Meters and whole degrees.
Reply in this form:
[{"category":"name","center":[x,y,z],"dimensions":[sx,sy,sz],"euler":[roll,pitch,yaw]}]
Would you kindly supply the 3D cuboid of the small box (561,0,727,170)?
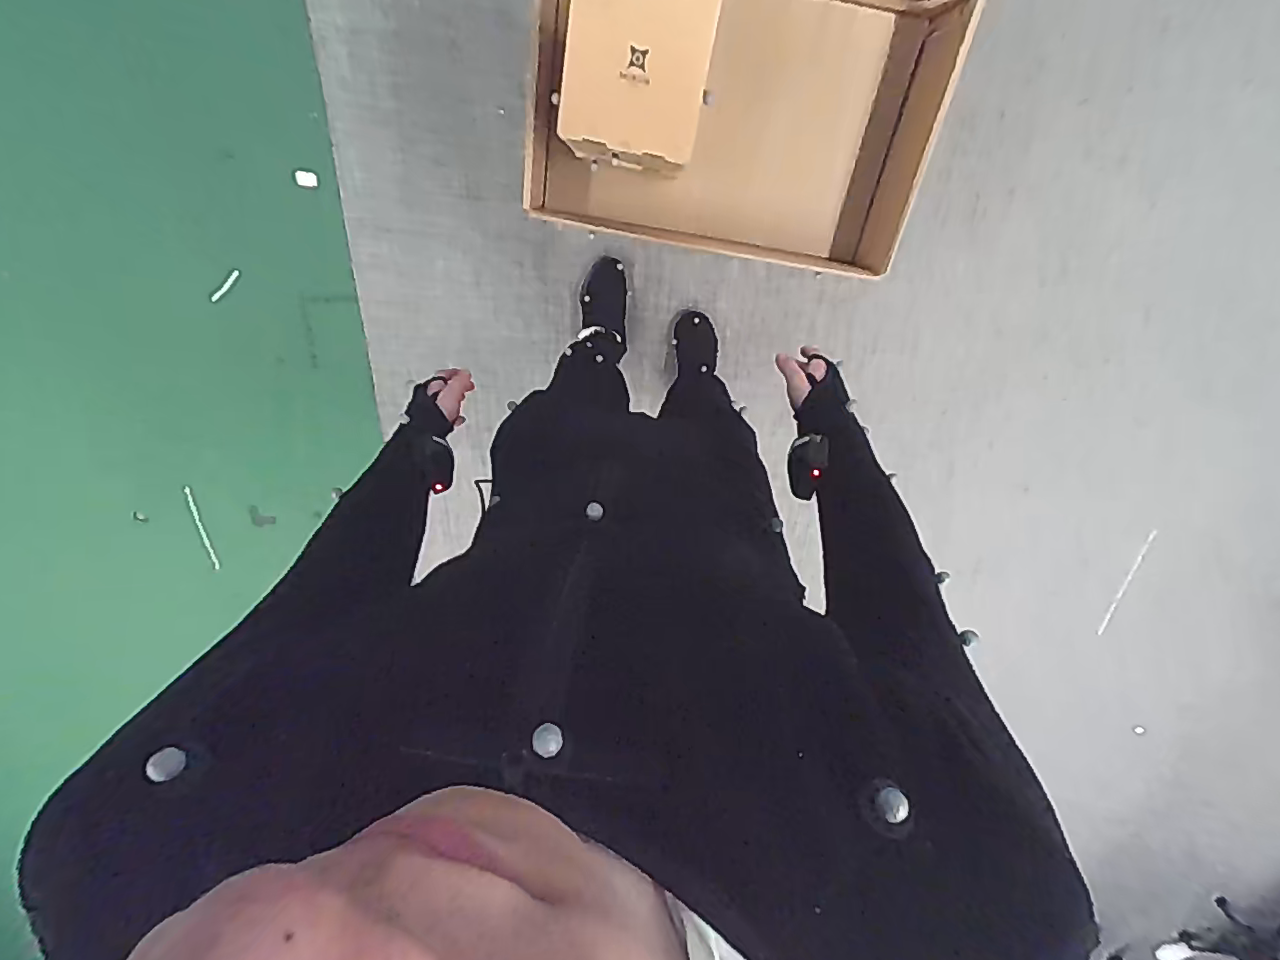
[{"category":"small box","center":[-0.003,-0.511,0.688],"dimensions":[0.168,0.176,0.179],"euler":[9,119,-7]}]
